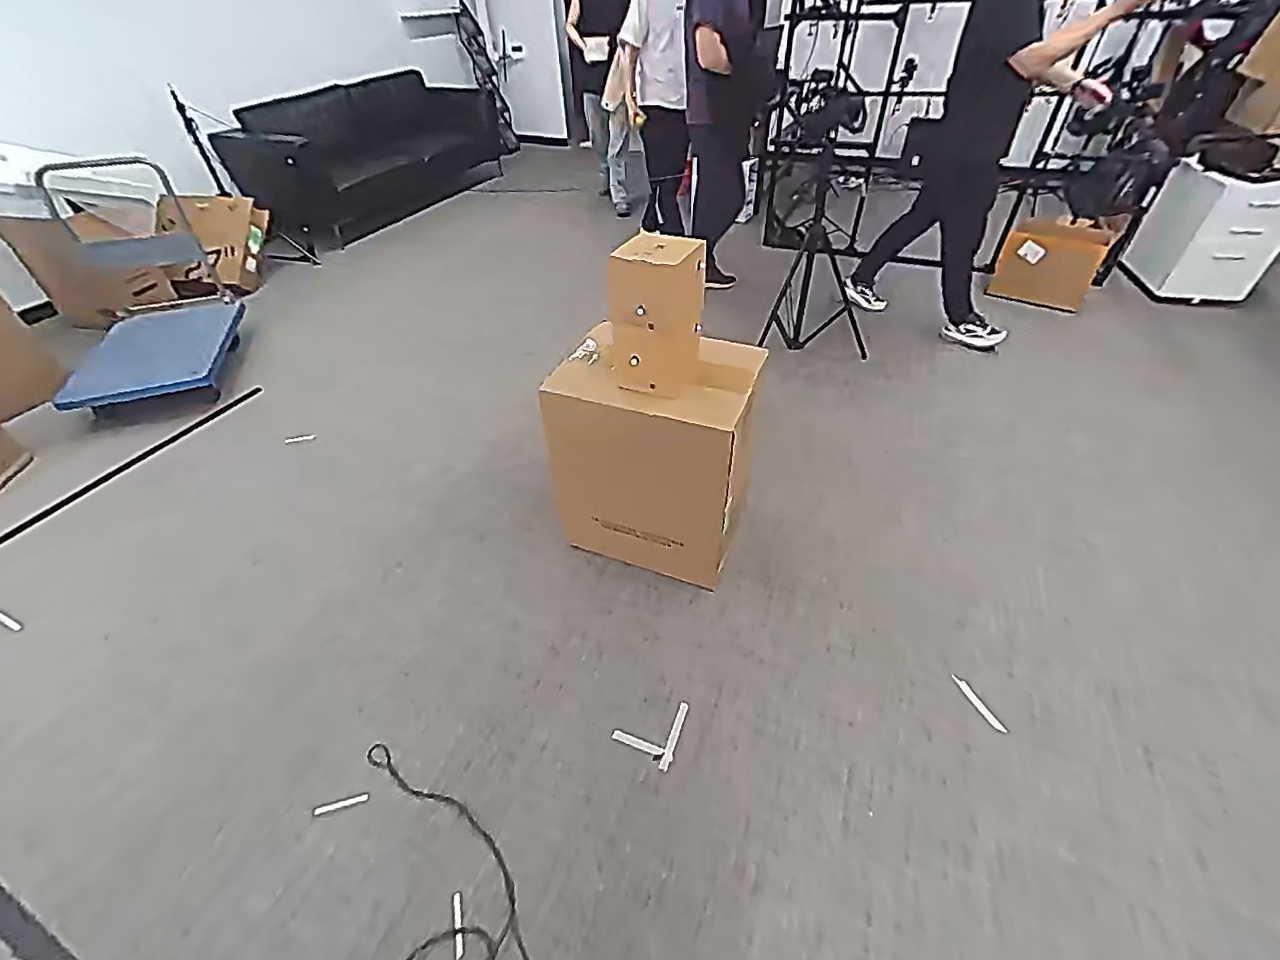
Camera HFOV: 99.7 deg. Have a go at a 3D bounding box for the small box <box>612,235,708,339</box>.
[{"bbox_3d":[0.049,-0.453,1.266,0.168,0.176,0.179,17,45,21],"label":"small box"}]

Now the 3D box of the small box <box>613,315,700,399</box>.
[{"bbox_3d":[0.048,-0.326,1.372,0.168,0.176,0.179,16,44,19],"label":"small box"}]
